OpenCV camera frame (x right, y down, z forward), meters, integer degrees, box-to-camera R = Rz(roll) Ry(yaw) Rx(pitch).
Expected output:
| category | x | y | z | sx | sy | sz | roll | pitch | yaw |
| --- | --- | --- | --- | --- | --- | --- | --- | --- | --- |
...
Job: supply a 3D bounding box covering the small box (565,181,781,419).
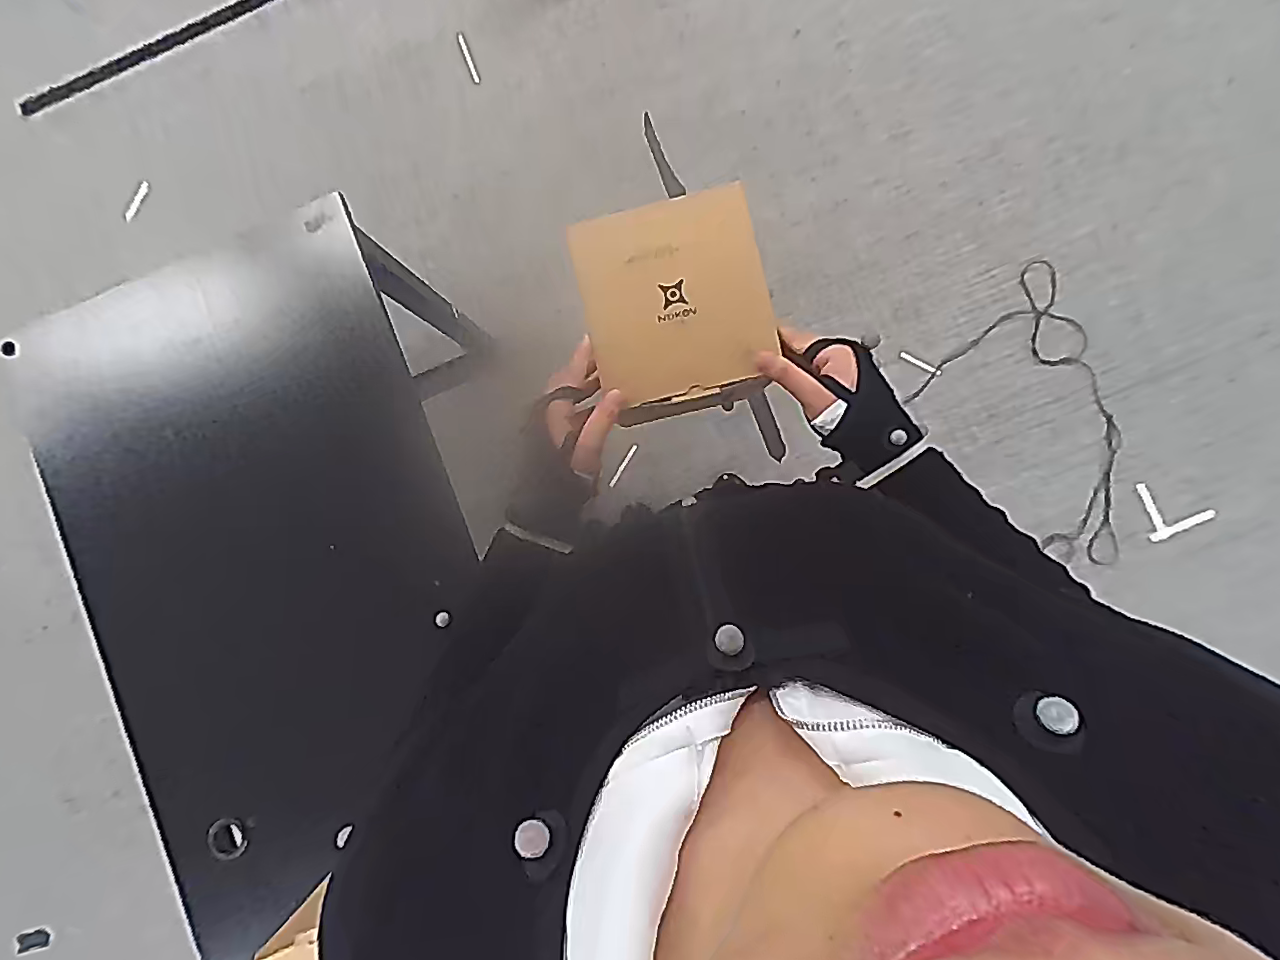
| category | x | y | z | sx | sy | sz | roll | pitch | yaw |
| --- | --- | --- | --- | --- | --- | --- | --- | --- | --- |
| small box | 0.033 | -0.165 | 0.563 | 0.168 | 0.176 | 0.179 | -14 | 90 | 2 |
